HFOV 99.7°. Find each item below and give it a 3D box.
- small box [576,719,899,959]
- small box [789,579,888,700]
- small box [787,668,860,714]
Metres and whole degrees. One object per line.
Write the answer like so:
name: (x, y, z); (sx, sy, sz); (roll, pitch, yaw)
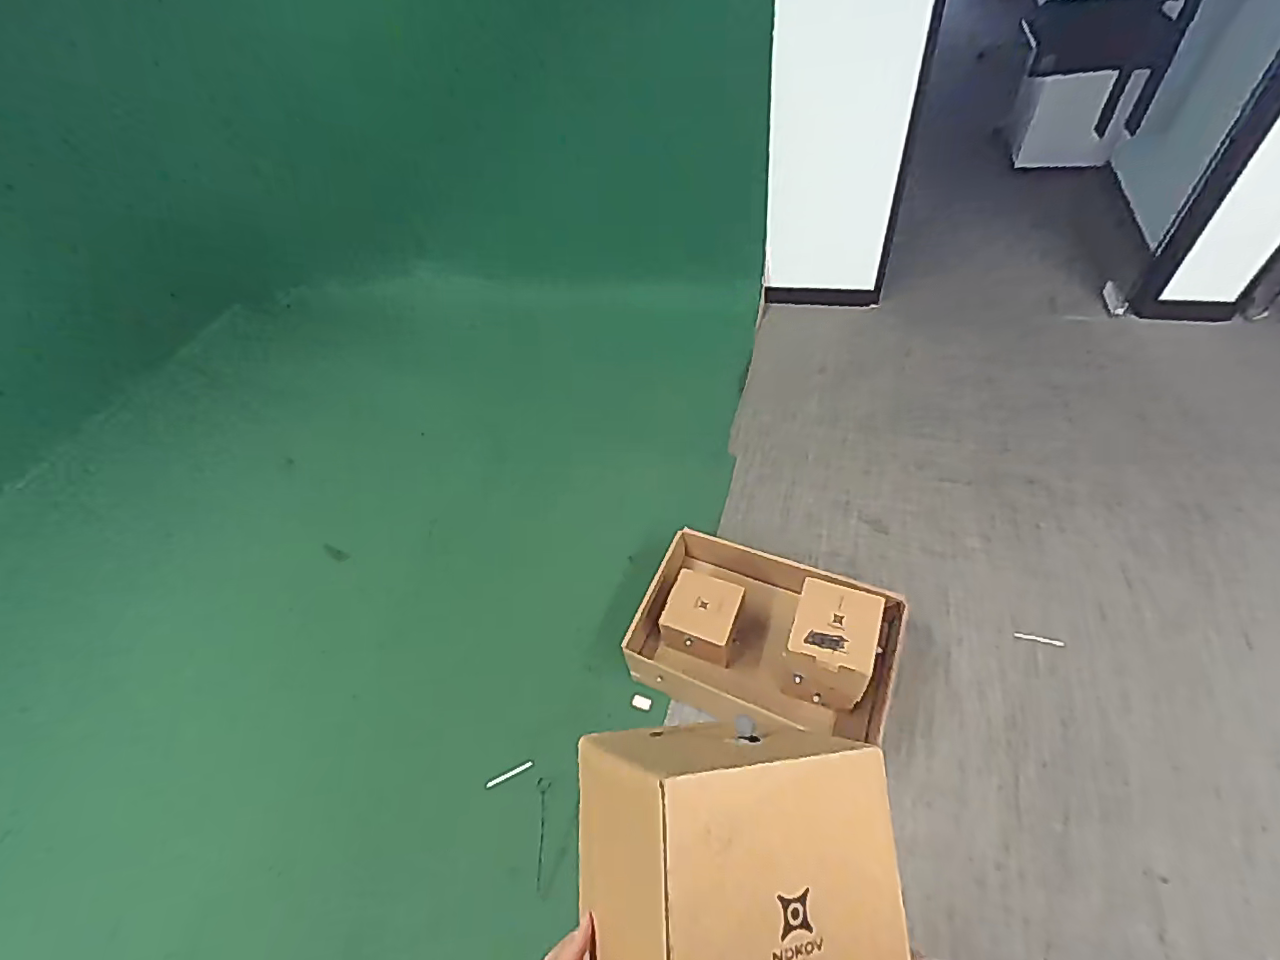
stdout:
small box: (0.054, 0.277, 0.389); (0.168, 0.176, 0.179); (5, 74, -21)
small box: (0.424, 0.348, 1.171); (0.168, 0.176, 0.179); (13, 55, 22)
small box: (0.455, 0.439, 1.305); (0.168, 0.176, 0.179); (11, 56, 21)
